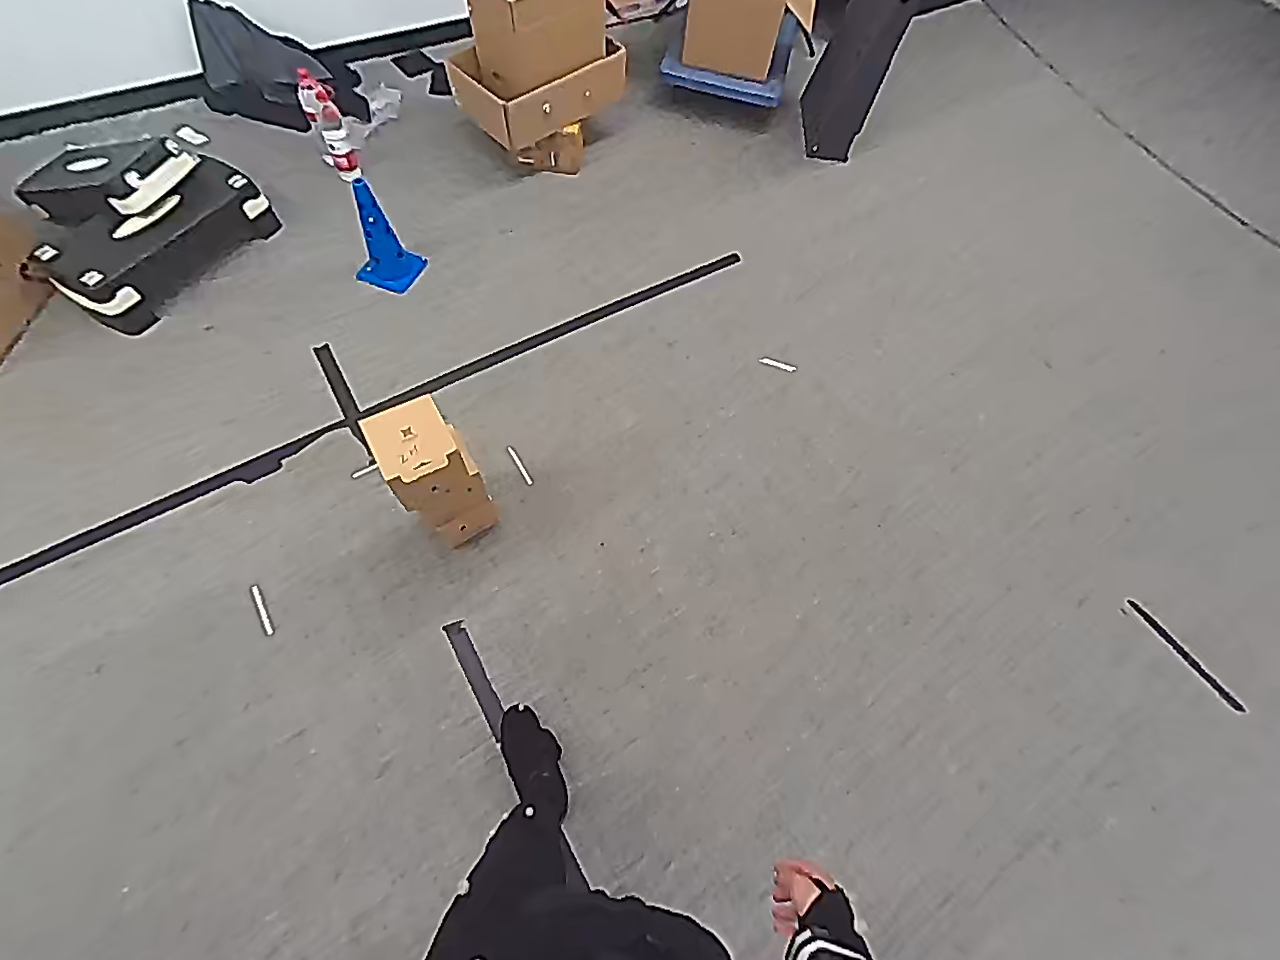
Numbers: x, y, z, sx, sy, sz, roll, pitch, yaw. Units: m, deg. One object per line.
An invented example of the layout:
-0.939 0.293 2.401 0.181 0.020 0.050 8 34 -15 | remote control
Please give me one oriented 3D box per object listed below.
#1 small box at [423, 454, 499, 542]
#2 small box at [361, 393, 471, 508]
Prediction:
-0.529 0.062 1.566 0.168 0.176 0.179 -32 71 -19 | small box
-0.516 -0.065 1.261 0.168 0.176 0.179 -27 70 -18 | small box
